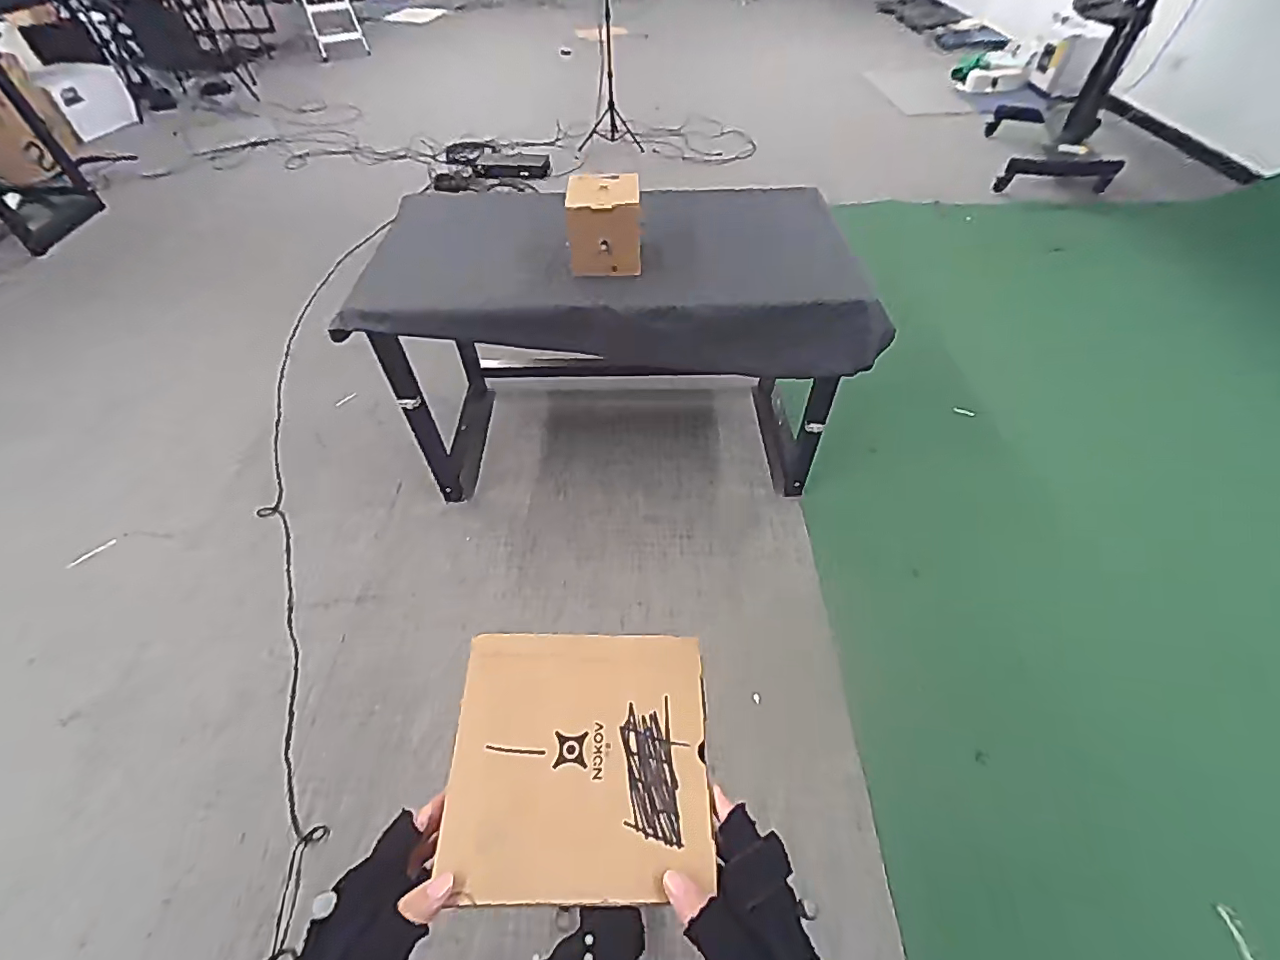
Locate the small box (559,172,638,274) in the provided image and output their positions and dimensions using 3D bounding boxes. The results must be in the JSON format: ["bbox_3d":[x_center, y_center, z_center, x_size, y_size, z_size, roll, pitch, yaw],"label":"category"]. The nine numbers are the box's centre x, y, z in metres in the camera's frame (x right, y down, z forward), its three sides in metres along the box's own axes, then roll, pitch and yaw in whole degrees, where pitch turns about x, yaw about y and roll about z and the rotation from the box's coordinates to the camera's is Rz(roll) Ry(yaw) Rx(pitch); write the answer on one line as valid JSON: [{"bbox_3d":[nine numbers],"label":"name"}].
[{"bbox_3d":[-0.092,-0.605,1.288,0.168,0.176,0.179,-2,50,1],"label":"small box"}]
